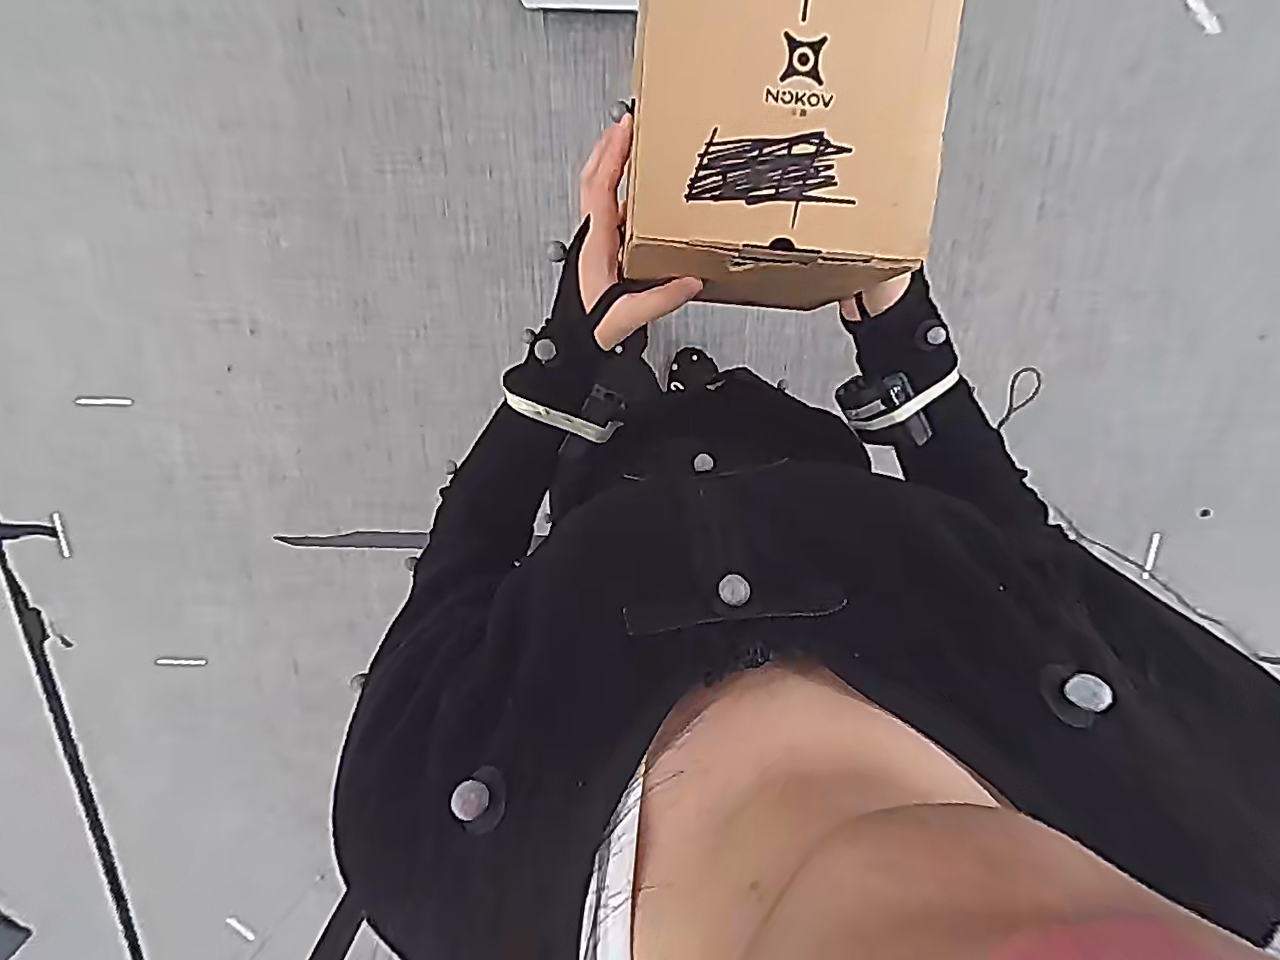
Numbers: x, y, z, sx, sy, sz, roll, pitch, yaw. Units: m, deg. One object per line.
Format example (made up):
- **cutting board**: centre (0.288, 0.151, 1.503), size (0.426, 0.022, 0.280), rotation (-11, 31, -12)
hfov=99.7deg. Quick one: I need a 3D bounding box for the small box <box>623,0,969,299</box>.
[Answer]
- **small box**: centre (0.077, -0.224, 0.352), size (0.168, 0.176, 0.179), rotation (3, 98, -4)
